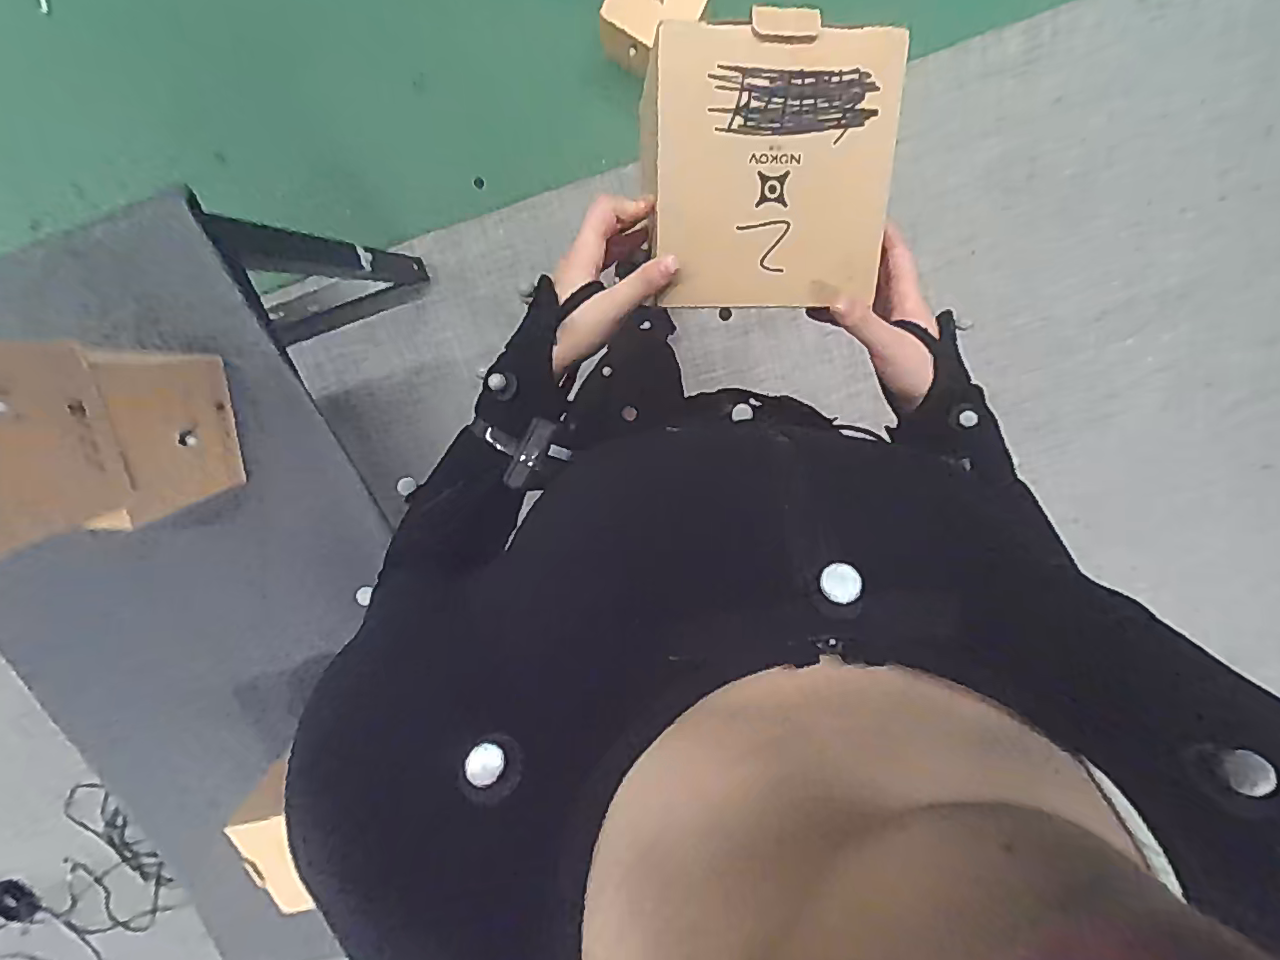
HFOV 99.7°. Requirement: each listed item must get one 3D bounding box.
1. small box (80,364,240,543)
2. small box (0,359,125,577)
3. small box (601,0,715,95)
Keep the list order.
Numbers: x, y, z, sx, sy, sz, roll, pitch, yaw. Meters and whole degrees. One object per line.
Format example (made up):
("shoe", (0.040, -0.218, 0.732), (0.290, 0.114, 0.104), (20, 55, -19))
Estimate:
("small box", (-0.598, -0.040, 0.616), (0.179, 0.176, 0.168), (3, 107, 2))
("small box", (-0.597, -0.010, 0.456), (0.179, 0.176, 0.168), (-2, 106, 3))
("small box", (0.039, -0.933, 1.106), (0.179, 0.176, 0.168), (27, 106, -8))
